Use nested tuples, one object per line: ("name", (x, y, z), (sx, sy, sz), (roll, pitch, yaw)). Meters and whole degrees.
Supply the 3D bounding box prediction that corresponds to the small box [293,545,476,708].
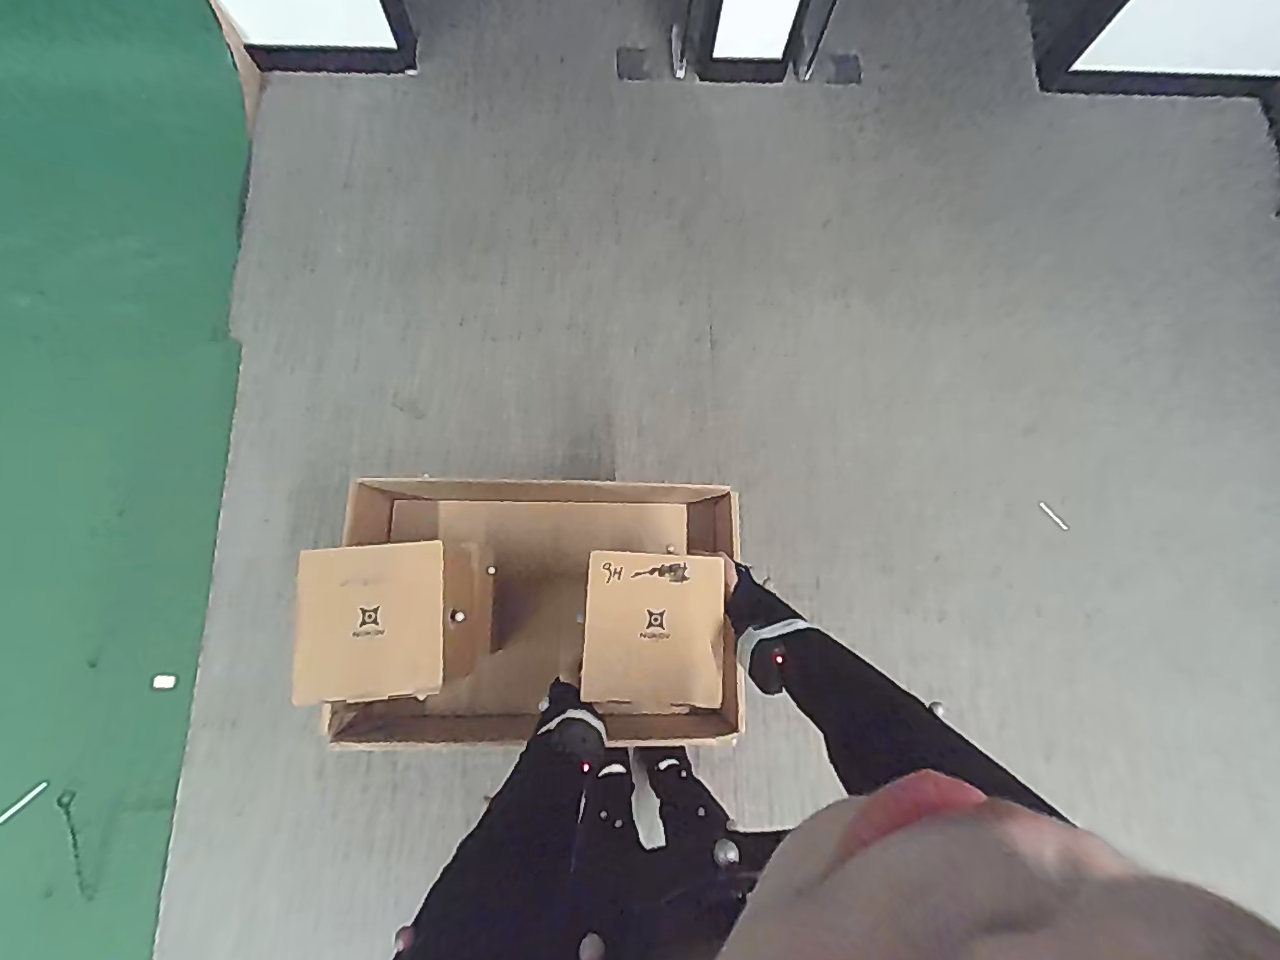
("small box", (-0.312, 0.180, 0.697), (0.168, 0.176, 0.179), (-3, 78, -4))
